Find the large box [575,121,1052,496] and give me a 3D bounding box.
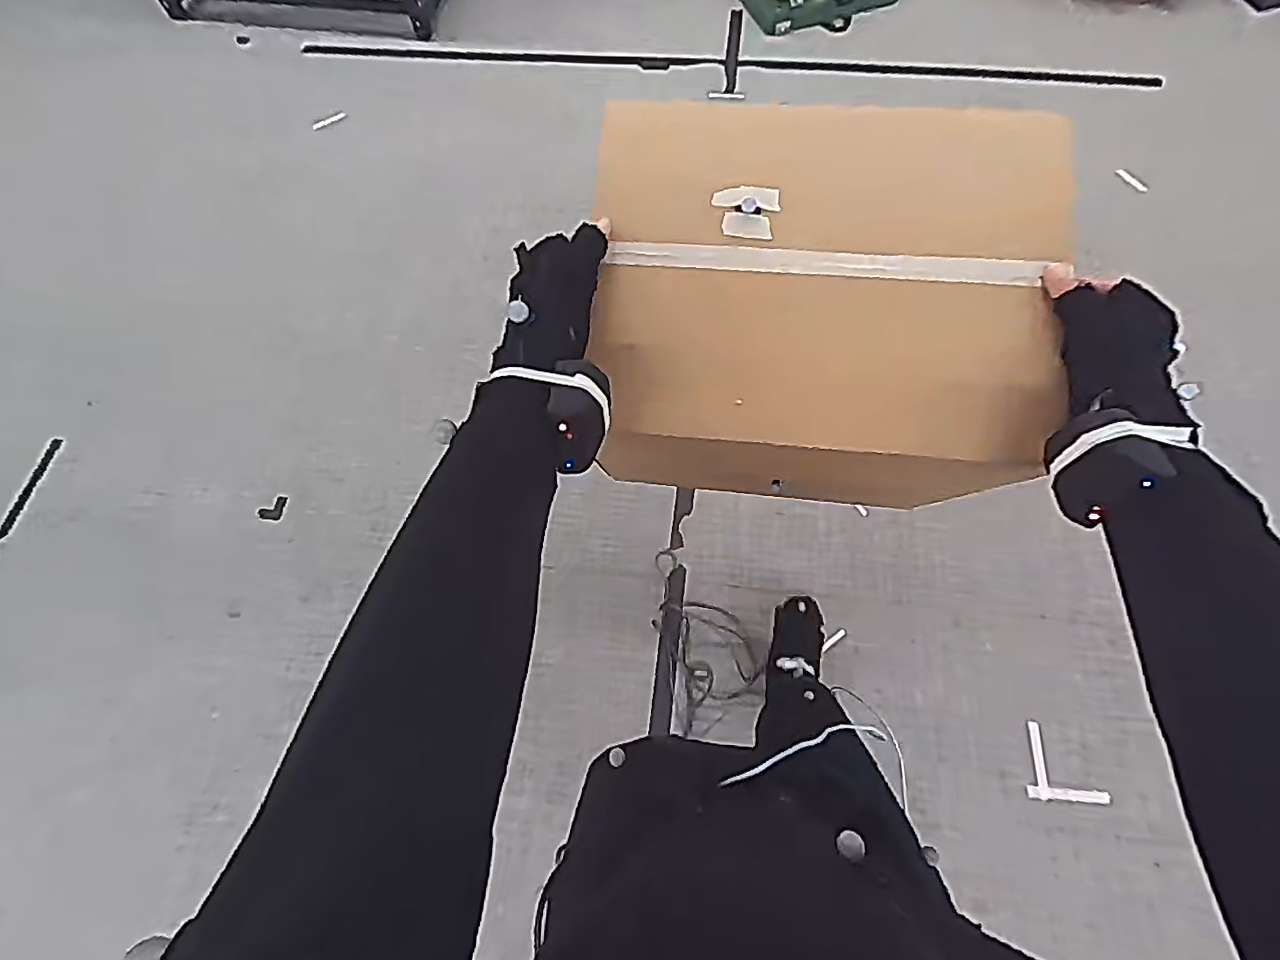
[{"bbox_3d":[0.168,-0.161,0.627,0.408,0.320,0.320,5,81,7],"label":"large box"}]
